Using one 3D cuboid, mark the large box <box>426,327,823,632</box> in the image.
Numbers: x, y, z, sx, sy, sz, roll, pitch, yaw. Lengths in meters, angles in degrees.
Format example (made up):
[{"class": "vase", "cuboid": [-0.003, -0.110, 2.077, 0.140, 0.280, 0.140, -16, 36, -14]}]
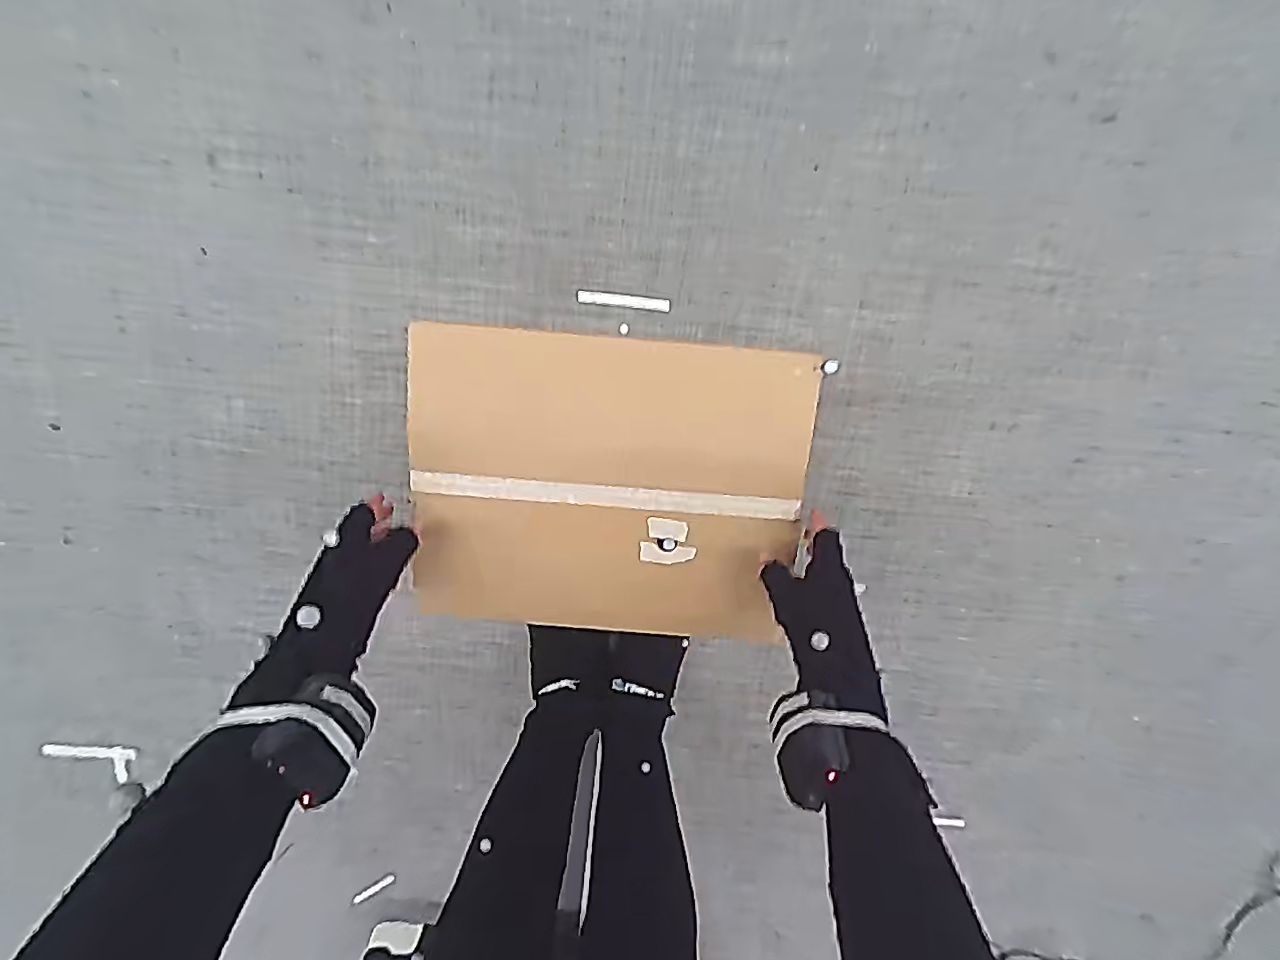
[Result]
[{"class": "large box", "cuboid": [-0.026, -0.022, 0.713, 0.408, 0.320, 0.320, 4, 104, -1]}]
